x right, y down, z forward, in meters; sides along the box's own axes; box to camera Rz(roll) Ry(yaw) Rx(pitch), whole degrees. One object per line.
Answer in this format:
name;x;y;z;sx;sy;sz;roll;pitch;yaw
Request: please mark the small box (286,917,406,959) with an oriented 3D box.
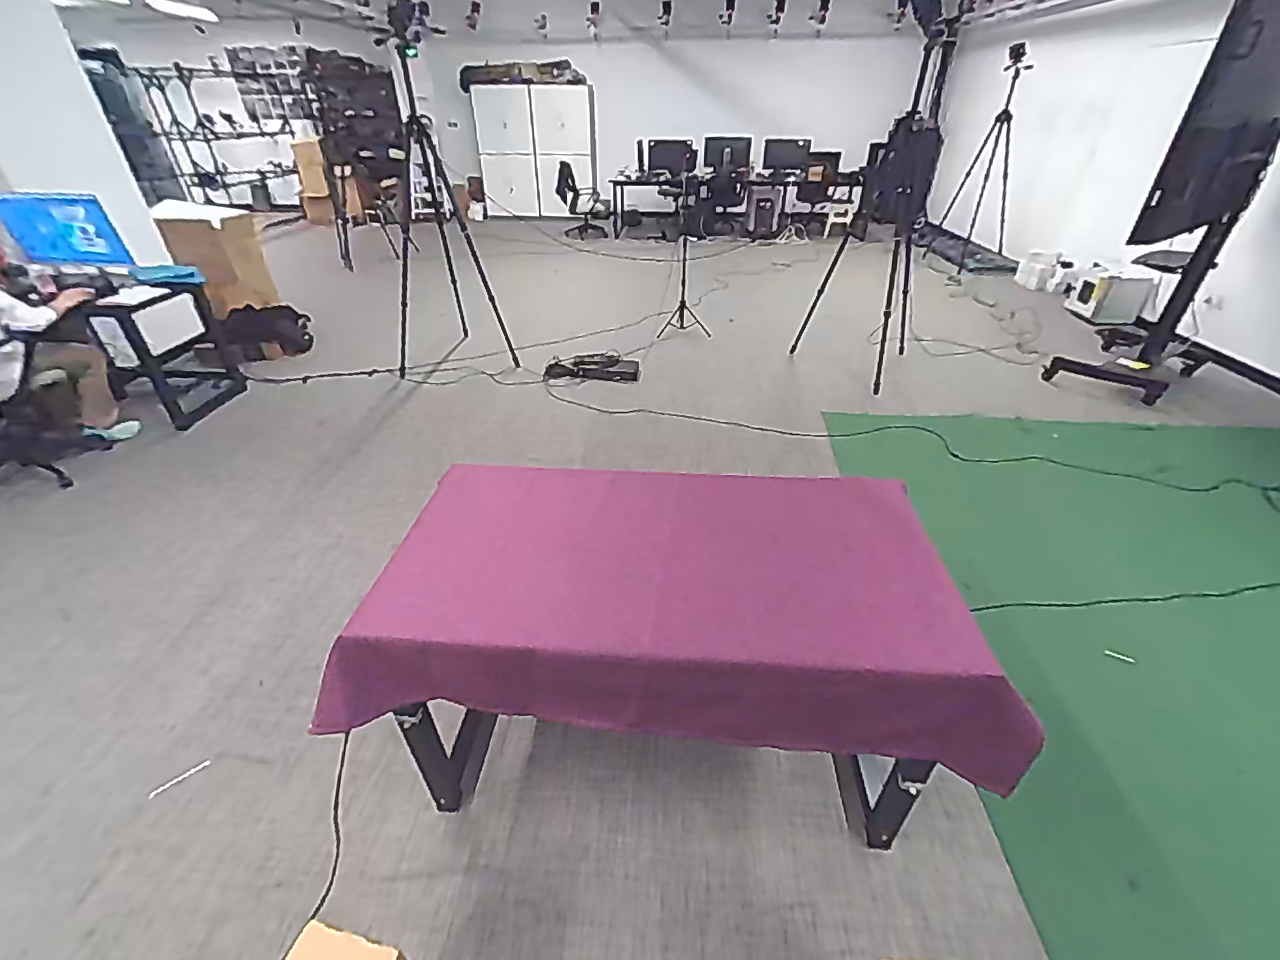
small box;-0.465;0.820;0.819;0.168;0.176;0.179;7;34;12
